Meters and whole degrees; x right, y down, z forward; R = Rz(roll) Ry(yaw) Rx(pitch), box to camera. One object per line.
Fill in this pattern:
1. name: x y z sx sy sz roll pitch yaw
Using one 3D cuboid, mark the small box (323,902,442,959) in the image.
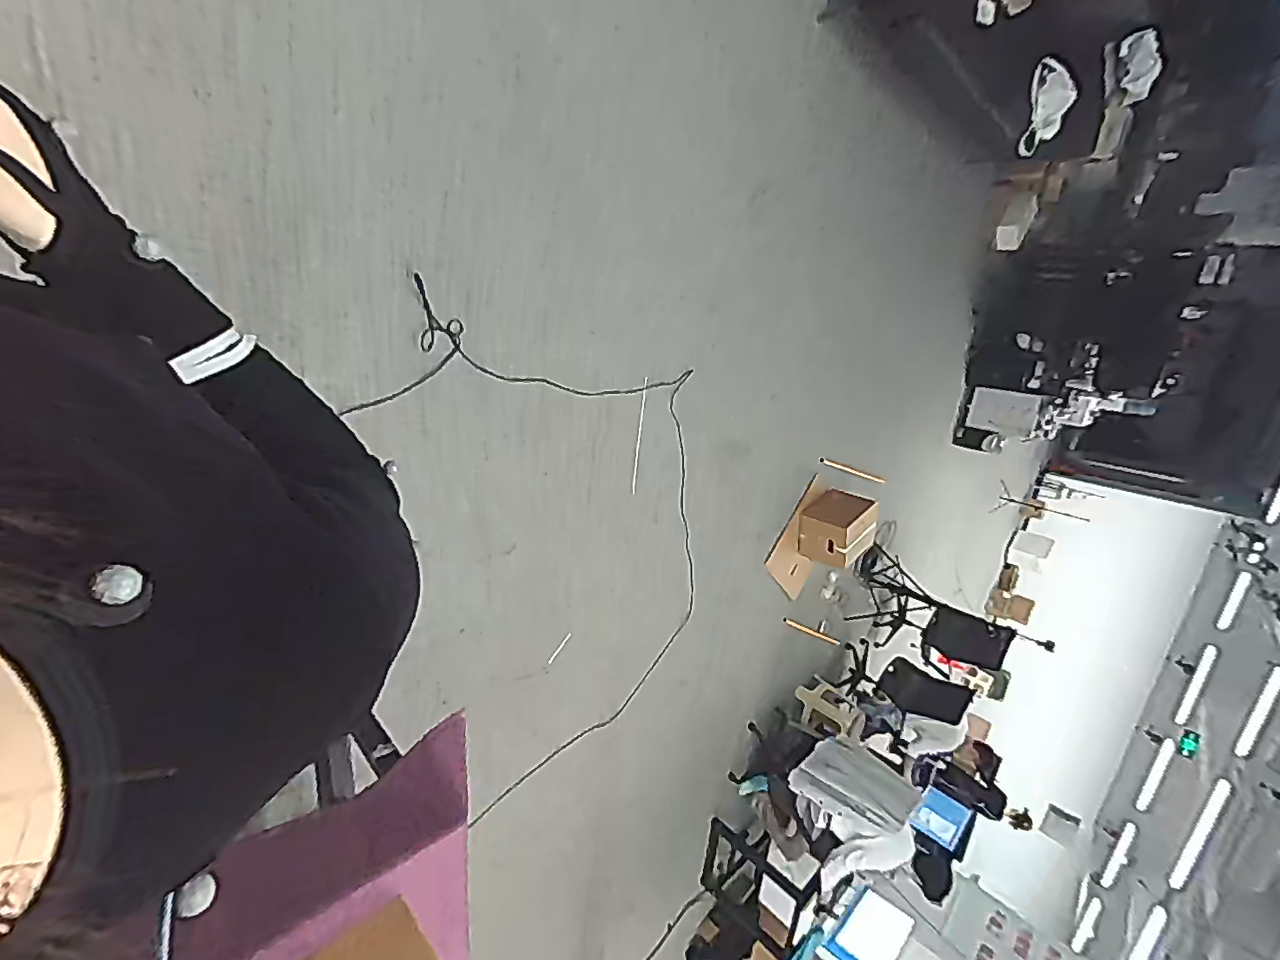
1. small box: -0.436 0.887 0.921 0.179 0.176 0.168 -14 115 -41
